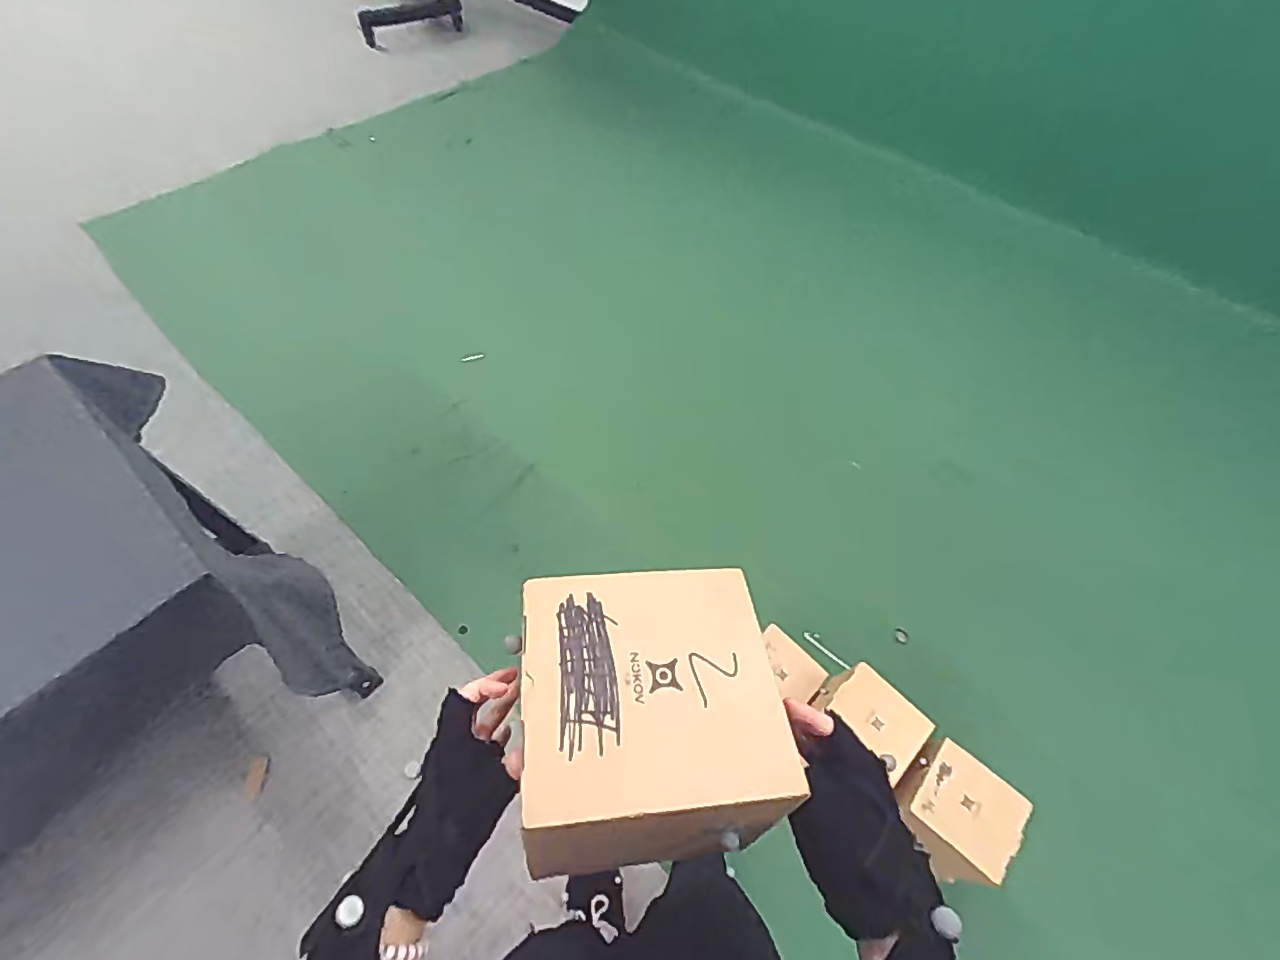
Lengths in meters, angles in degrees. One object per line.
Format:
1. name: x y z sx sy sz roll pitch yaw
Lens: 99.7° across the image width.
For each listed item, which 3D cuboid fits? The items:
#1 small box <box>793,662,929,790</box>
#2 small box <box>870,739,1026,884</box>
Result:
1. small box: 0.456 0.519 1.139 0.168 0.176 0.179 -37 66 -22
2. small box: 0.598 0.644 1.068 0.179 0.176 0.168 39 64 18
